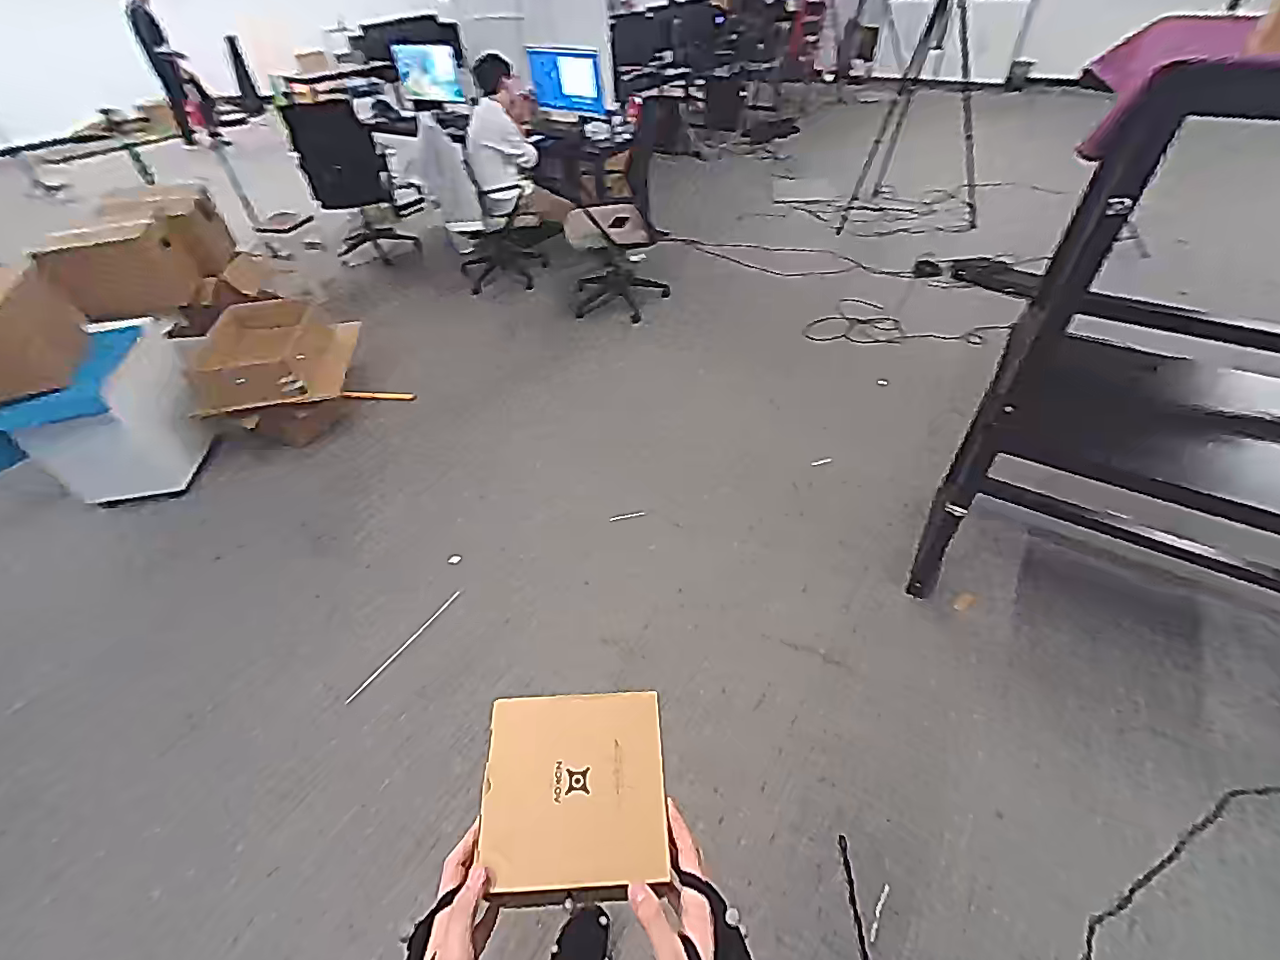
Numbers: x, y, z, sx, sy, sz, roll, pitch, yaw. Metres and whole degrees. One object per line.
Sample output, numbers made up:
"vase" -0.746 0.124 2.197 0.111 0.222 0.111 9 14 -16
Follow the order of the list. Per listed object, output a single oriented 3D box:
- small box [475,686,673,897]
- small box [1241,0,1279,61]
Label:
"small box" -0.057 0.335 0.579 0.179 0.176 0.168 -2 48 -1
"small box" 1.074 -0.749 0.820 0.179 0.176 0.168 24 51 26
